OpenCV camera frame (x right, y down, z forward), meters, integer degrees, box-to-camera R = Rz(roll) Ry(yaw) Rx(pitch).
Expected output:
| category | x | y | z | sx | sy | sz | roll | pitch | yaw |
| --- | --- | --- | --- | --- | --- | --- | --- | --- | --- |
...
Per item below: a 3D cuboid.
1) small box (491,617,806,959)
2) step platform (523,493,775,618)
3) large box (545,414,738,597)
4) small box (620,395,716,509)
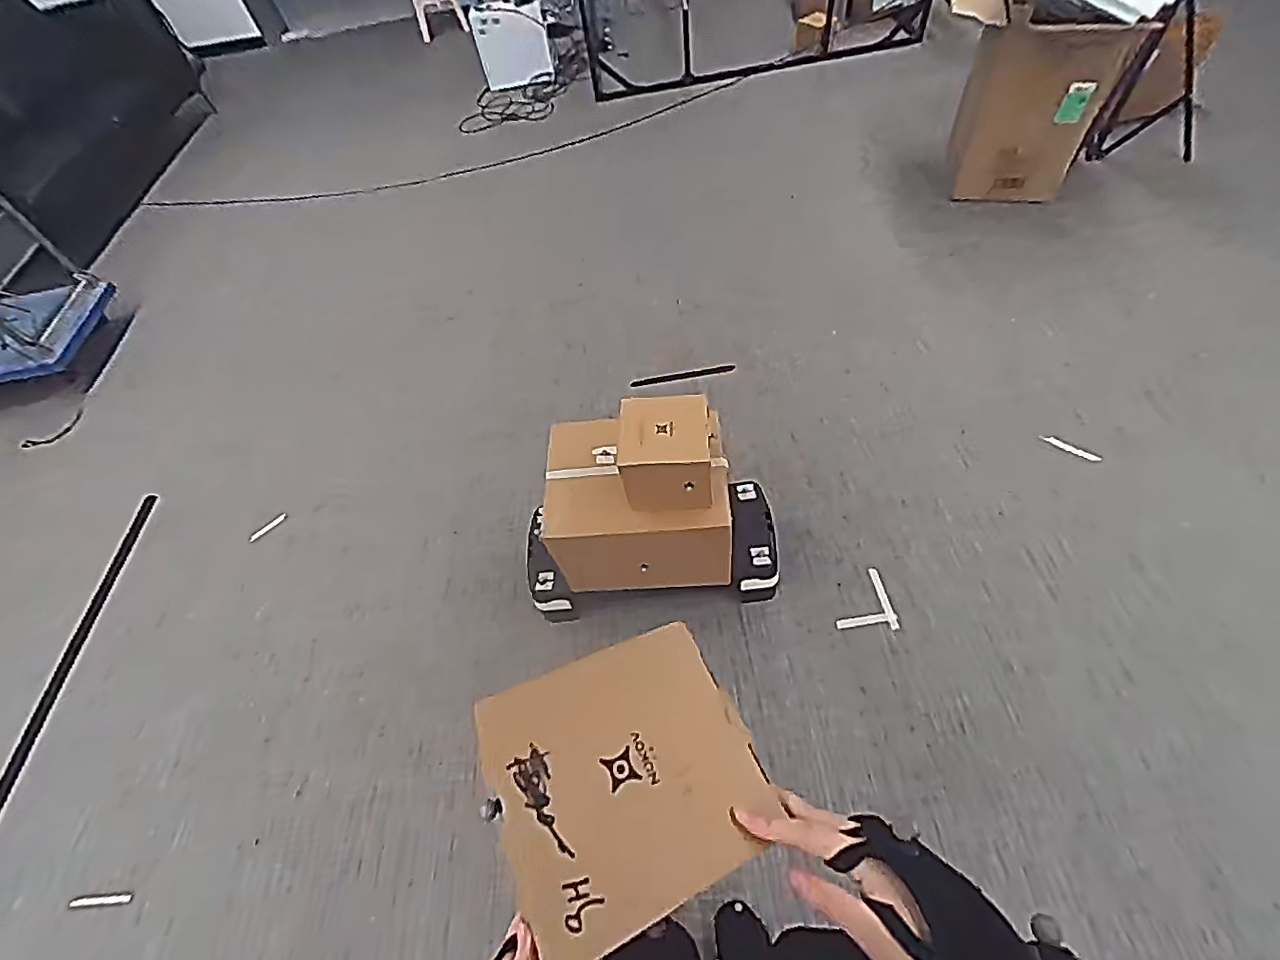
| category | x | y | z | sx | sy | sz | roll | pitch | yaw |
| --- | --- | --- | --- | --- | --- | --- | --- | --- | --- |
| small box | -0.013 | 0.240 | 0.426 | 0.179 | 0.176 | 0.168 | -13 | 53 | -24 |
| step platform | 0.023 | 0.212 | 1.509 | 0.684 | 0.204 | 0.286 | -4 | 56 | 8 |
| large box | 0.017 | 0.073 | 1.313 | 0.408 | 0.320 | 0.320 | -6 | 55 | 7 |
| small box | 0.063 | -0.051 | 1.091 | 0.179 | 0.176 | 0.168 | -3 | 57 | 8 |
